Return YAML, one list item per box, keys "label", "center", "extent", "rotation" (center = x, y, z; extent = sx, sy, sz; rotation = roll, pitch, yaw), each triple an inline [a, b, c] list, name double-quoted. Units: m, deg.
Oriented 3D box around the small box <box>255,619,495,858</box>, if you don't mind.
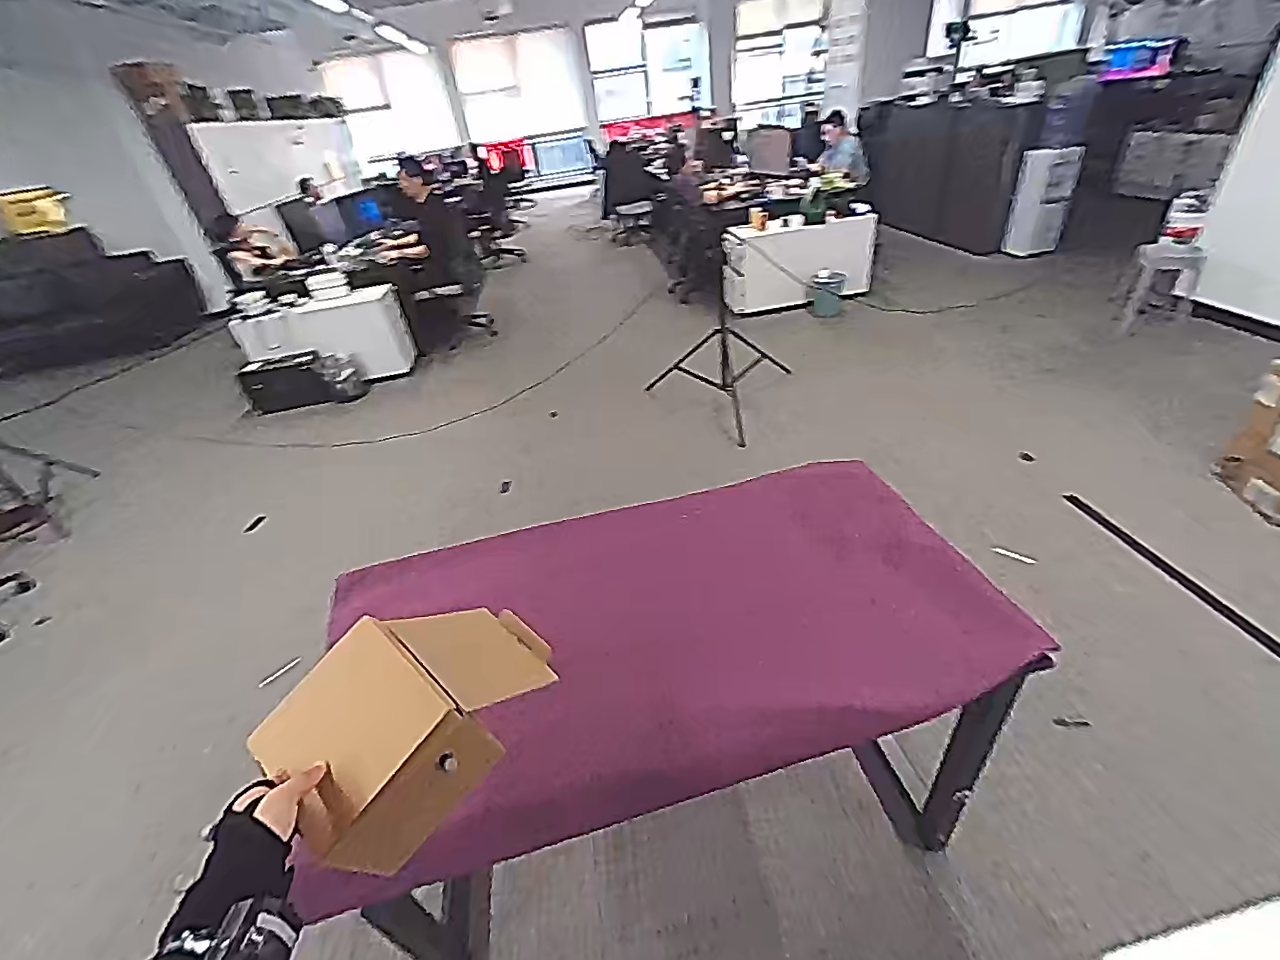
- label: "small box"
  center: [-0.295, 0.309, 0.647]
  extent: [0.168, 0.176, 0.179]
  rotation: [31, 61, 27]
